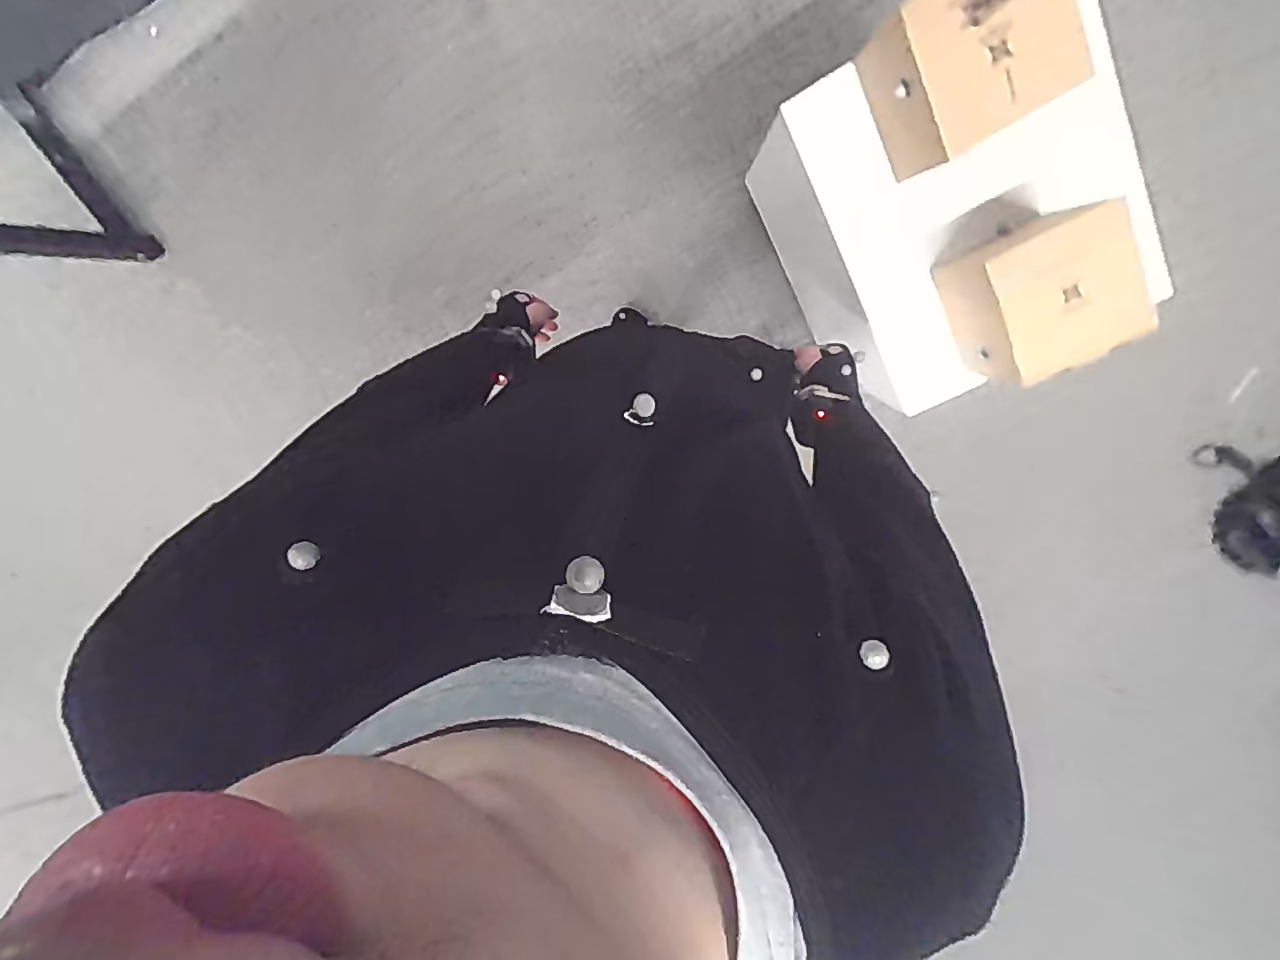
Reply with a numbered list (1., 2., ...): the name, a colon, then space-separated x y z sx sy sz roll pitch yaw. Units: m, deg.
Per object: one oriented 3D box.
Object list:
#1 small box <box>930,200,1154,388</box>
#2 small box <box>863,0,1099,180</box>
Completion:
1. small box: 0.540 -0.252 0.749 0.168 0.176 0.179 -26 104 11
2. small box: 0.401 -0.504 0.664 0.168 0.176 0.179 -26 108 13
